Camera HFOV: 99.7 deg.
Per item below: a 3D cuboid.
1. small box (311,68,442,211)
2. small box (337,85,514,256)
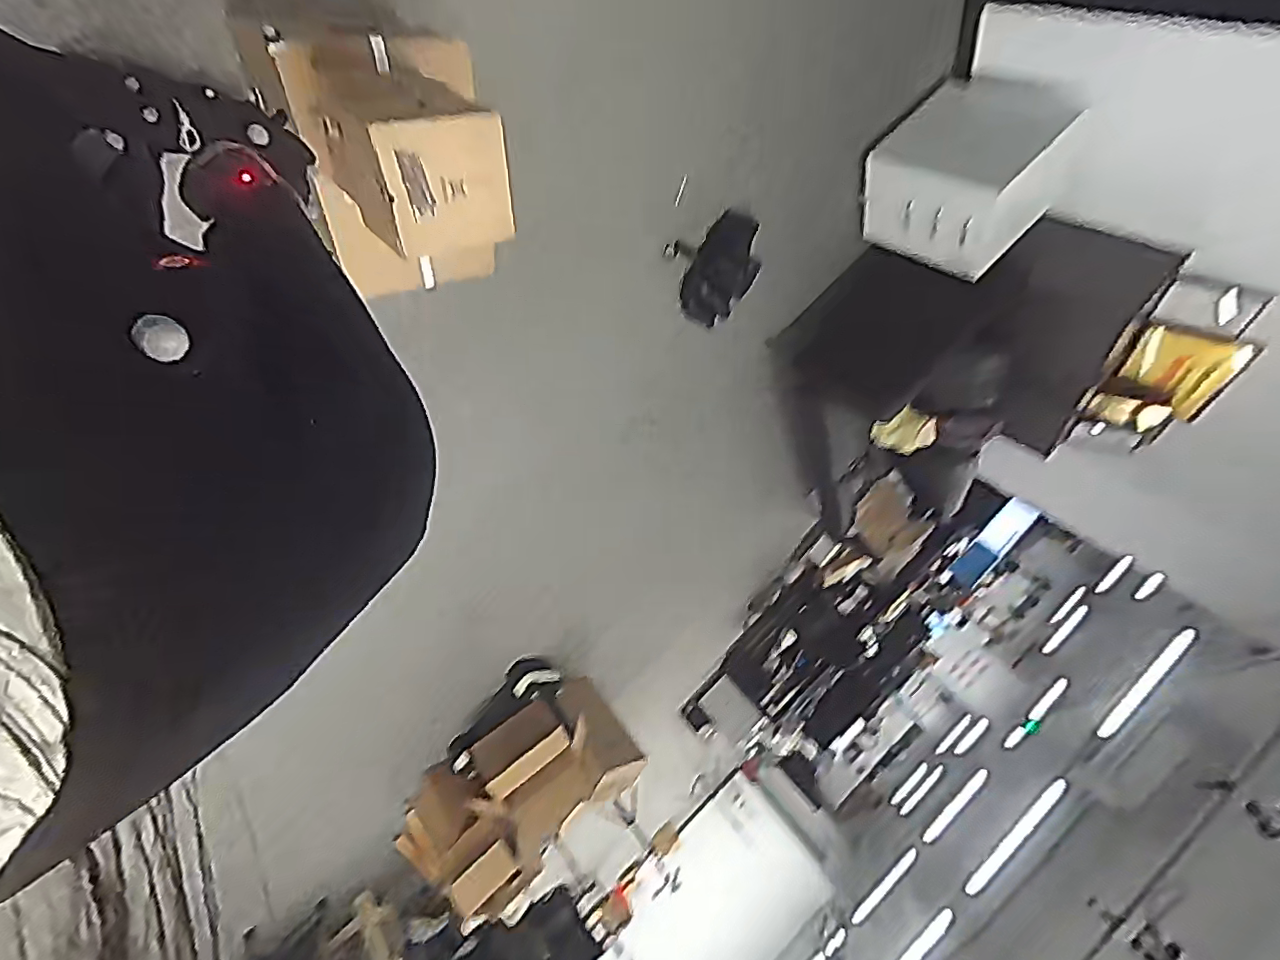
[{"bbox_3d":[-0.396,-0.549,0.872,0.179,0.176,0.168,-22,139,-30],"label":"small box"},{"bbox_3d":[-0.308,-0.448,0.776,0.179,0.176,0.168,-28,141,-24],"label":"small box"}]
